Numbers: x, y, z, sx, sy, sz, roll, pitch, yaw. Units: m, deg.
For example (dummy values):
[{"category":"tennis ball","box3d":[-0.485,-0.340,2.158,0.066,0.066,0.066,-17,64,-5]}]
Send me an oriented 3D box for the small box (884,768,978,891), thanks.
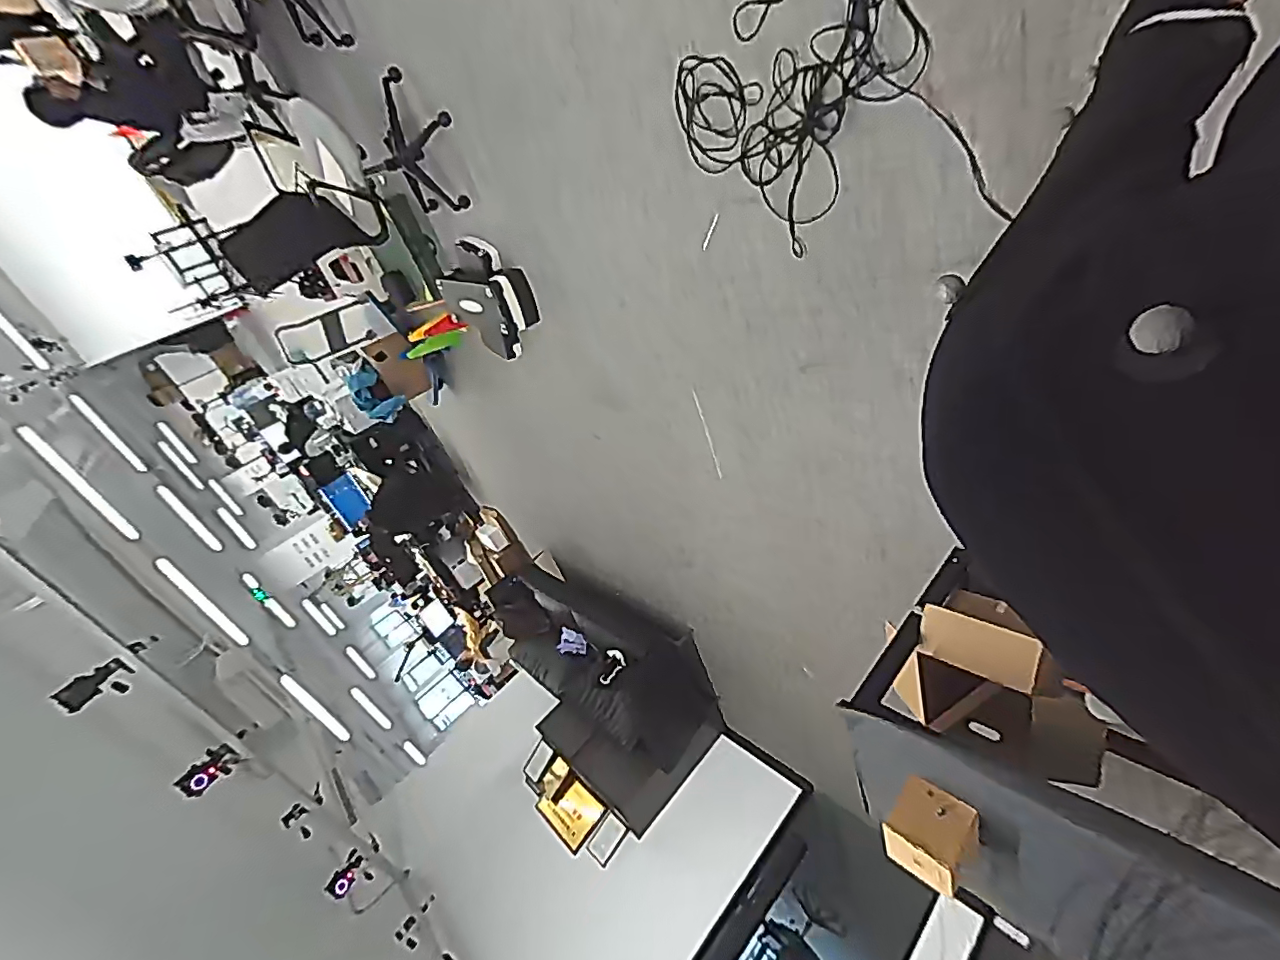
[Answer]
[{"category":"small box","box3d":[0.758,0.898,1.402,0.168,0.176,0.179,17,137,47]}]
